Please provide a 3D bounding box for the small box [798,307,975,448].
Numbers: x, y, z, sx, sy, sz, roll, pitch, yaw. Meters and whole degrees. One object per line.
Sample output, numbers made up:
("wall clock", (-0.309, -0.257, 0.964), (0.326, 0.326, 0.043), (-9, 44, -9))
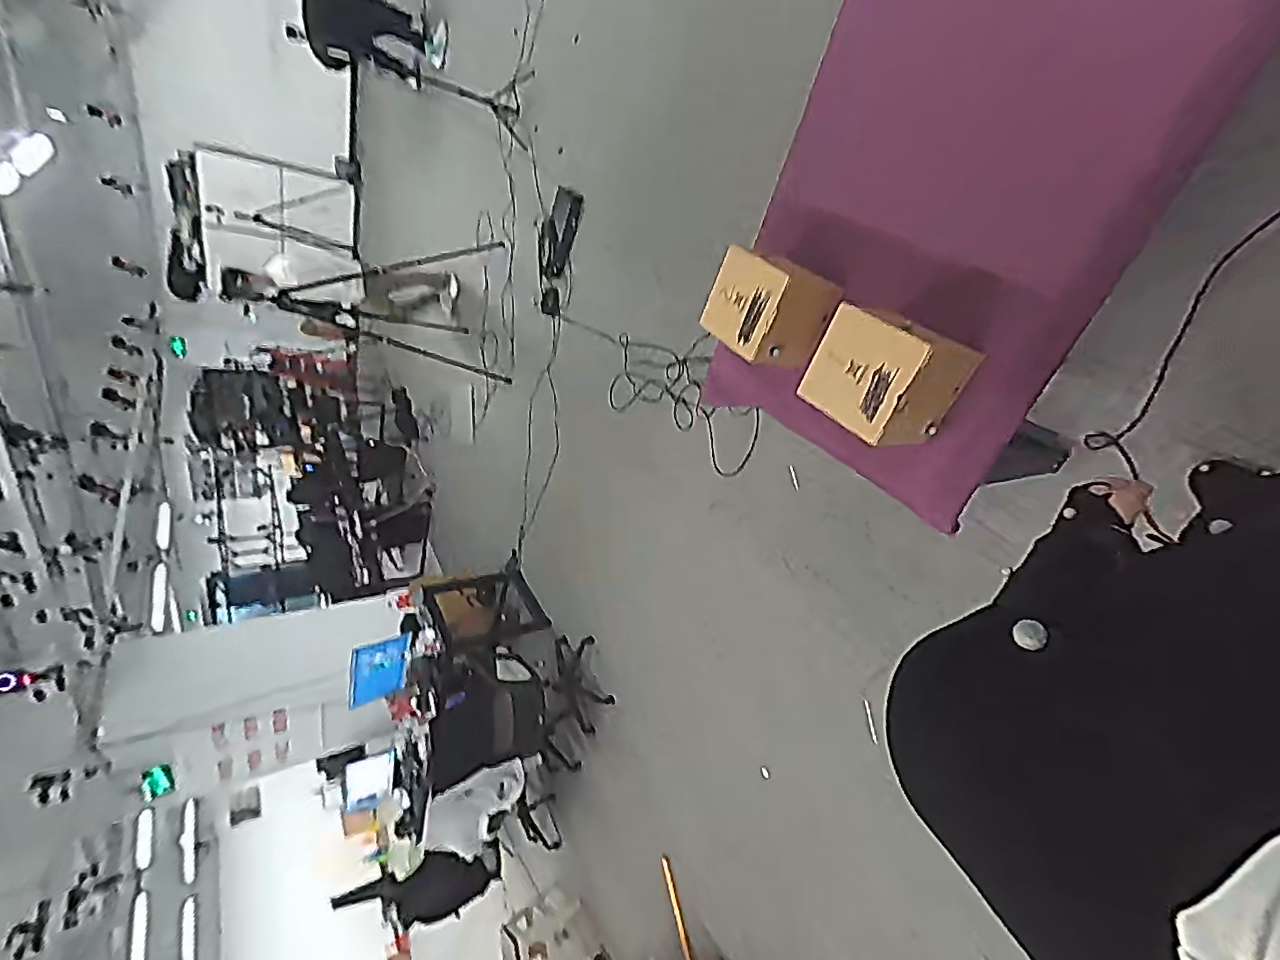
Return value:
("small box", (0.407, -0.170, 0.897), (0.179, 0.176, 0.168), (49, 130, 40))
